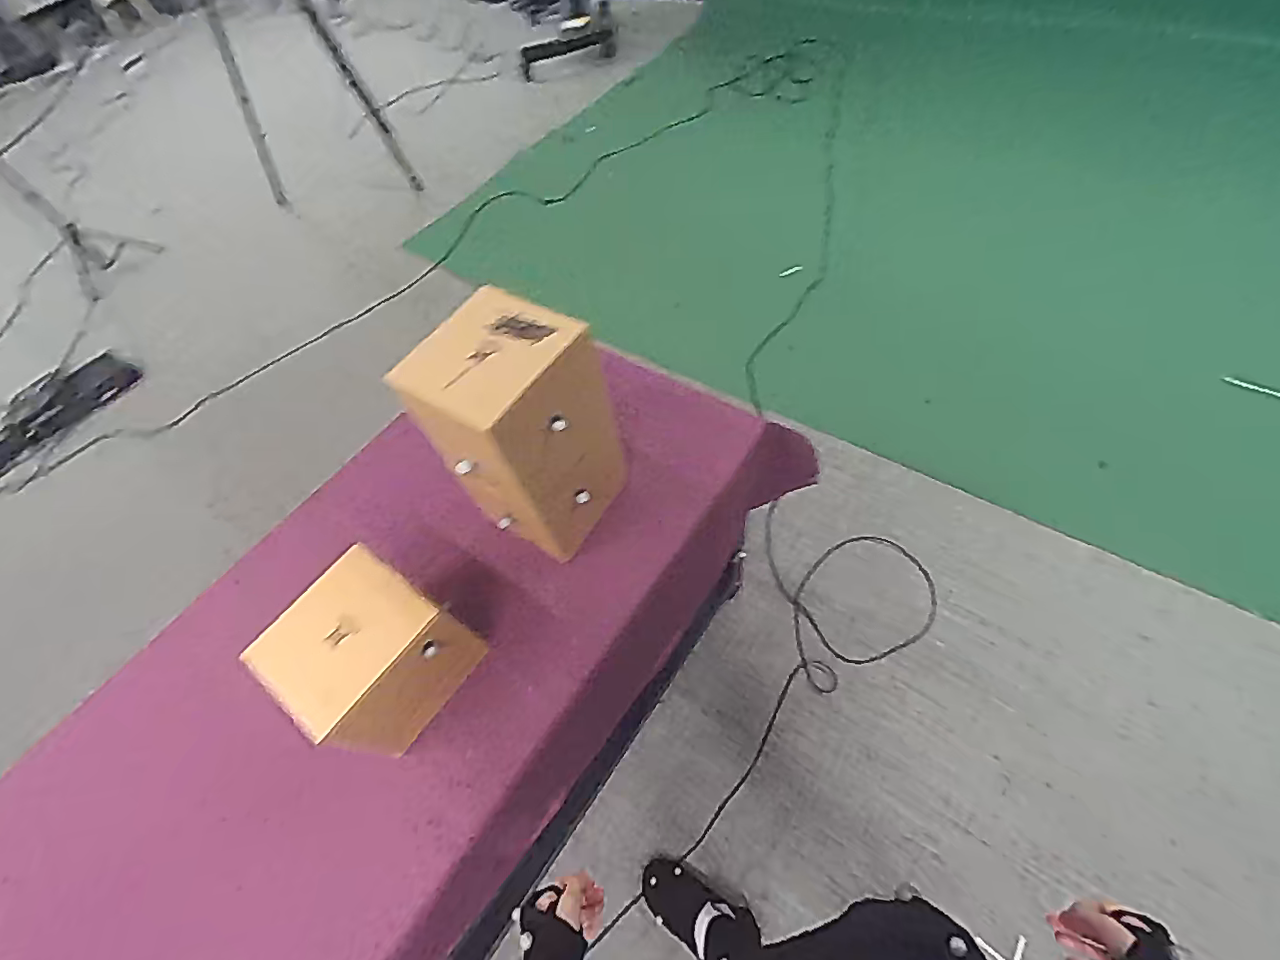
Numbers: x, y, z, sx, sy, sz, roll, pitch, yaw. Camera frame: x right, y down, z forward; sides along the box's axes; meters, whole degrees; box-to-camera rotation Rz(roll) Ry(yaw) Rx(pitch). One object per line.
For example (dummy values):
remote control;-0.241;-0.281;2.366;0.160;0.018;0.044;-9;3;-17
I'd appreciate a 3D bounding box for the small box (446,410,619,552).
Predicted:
small box;-0.149;-0.018;0.821;0.168;0.176;0.179;26;65;22

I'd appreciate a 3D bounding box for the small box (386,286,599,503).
small box;-0.168;-0.105;0.683;0.168;0.176;0.179;26;66;24

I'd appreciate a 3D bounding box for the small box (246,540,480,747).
small box;-0.343;0.217;0.703;0.168;0.176;0.179;29;65;25
